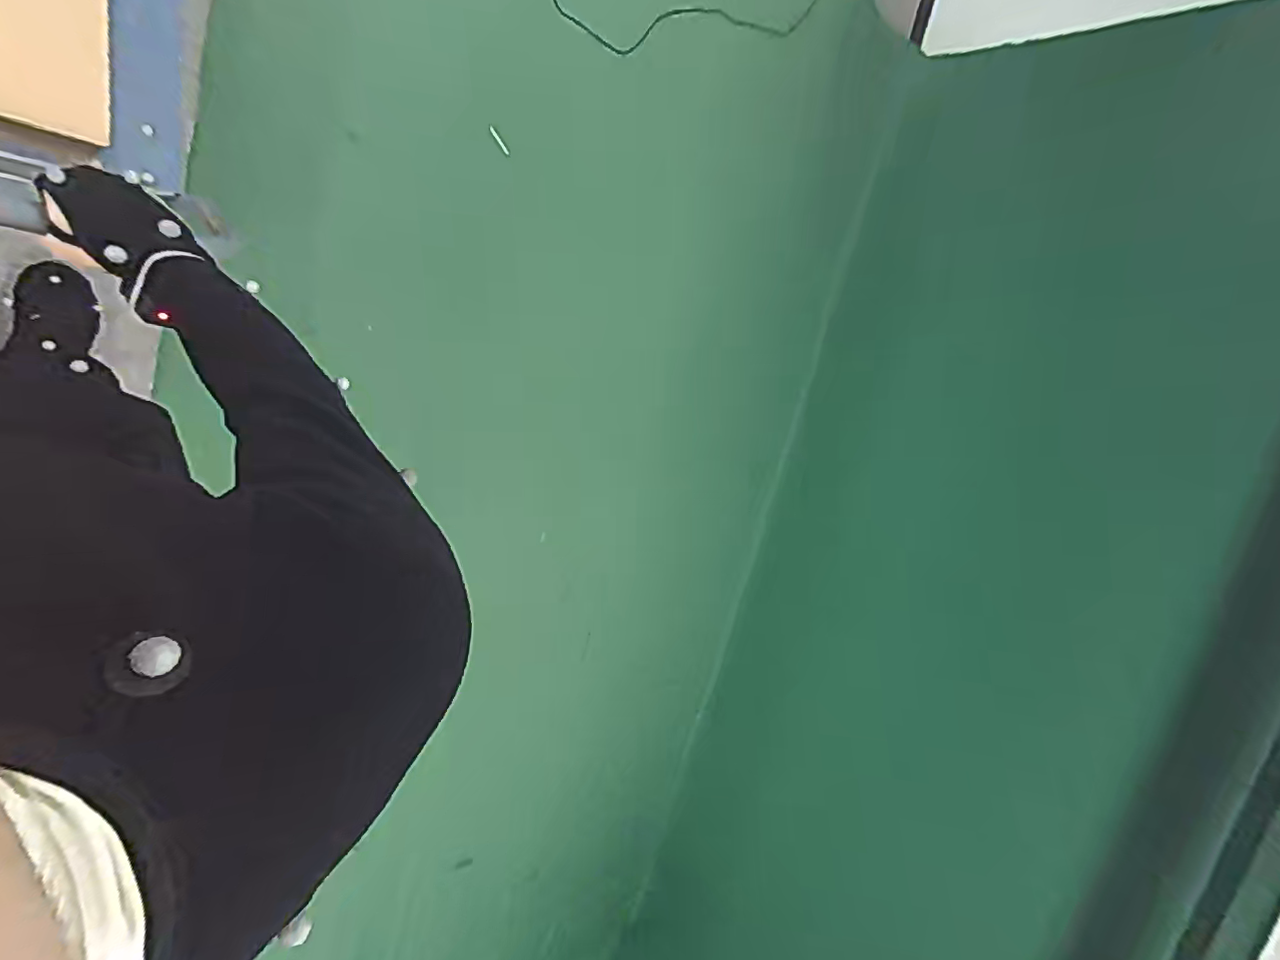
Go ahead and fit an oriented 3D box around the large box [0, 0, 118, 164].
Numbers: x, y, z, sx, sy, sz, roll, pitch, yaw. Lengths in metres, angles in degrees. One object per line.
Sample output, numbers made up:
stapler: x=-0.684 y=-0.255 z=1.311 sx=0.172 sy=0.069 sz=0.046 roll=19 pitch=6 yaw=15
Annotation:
large box: x=-0.918 y=-0.691 z=0.700 sx=0.320 sy=0.320 sz=0.408 roll=-5 pitch=109 yaw=-49
